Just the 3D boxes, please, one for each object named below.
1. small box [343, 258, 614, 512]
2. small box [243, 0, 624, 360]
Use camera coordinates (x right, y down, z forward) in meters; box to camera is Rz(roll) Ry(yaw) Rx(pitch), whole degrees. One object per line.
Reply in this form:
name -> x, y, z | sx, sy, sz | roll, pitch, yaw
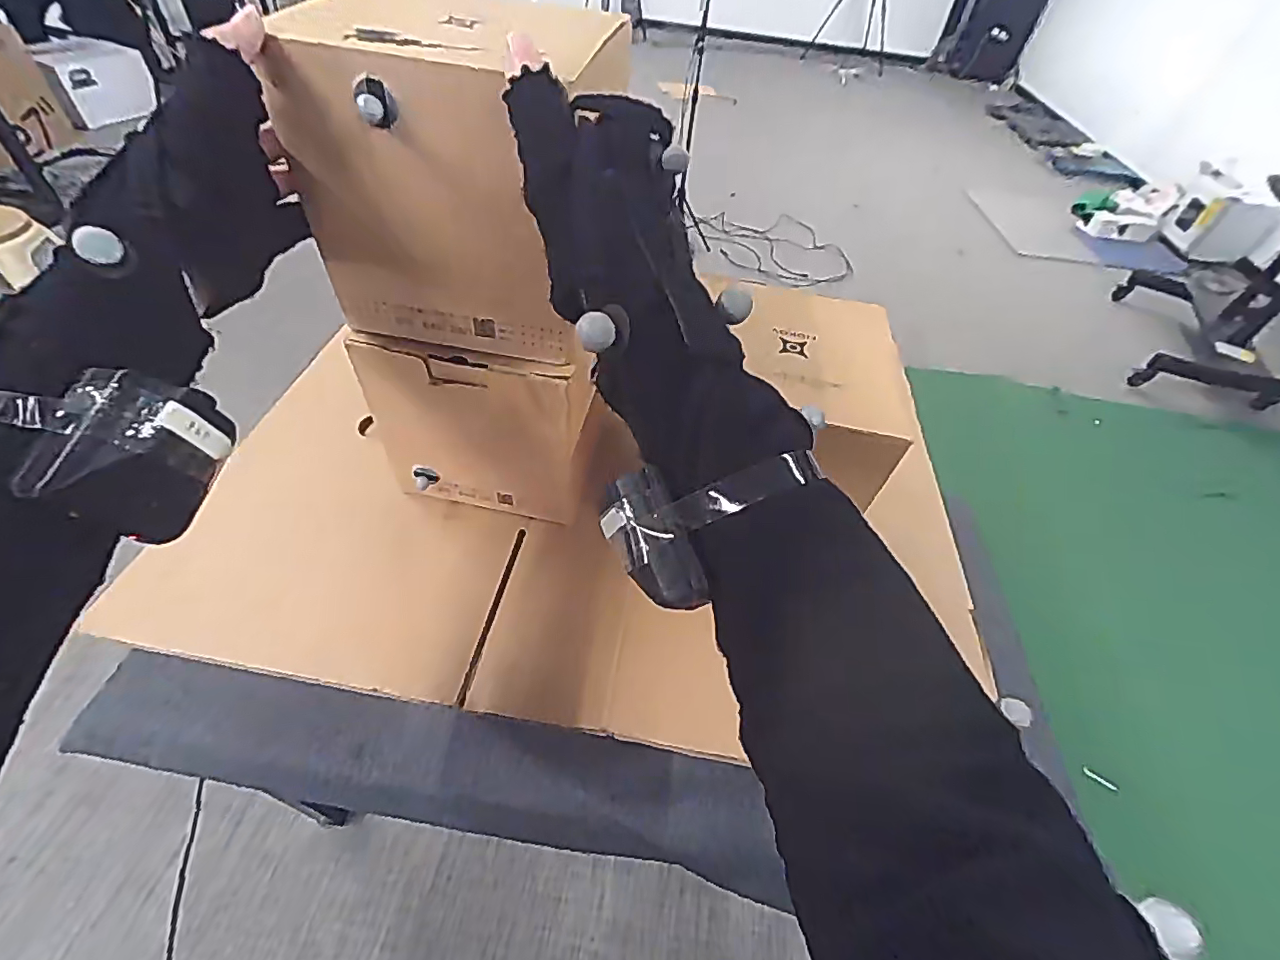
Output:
small box -> -0.123, -0.095, 0.492 | 0.168, 0.176, 0.179 | 11, 49, 3
small box -> -0.111, -0.211, 0.376 | 0.168, 0.176, 0.179 | 10, 49, 2
